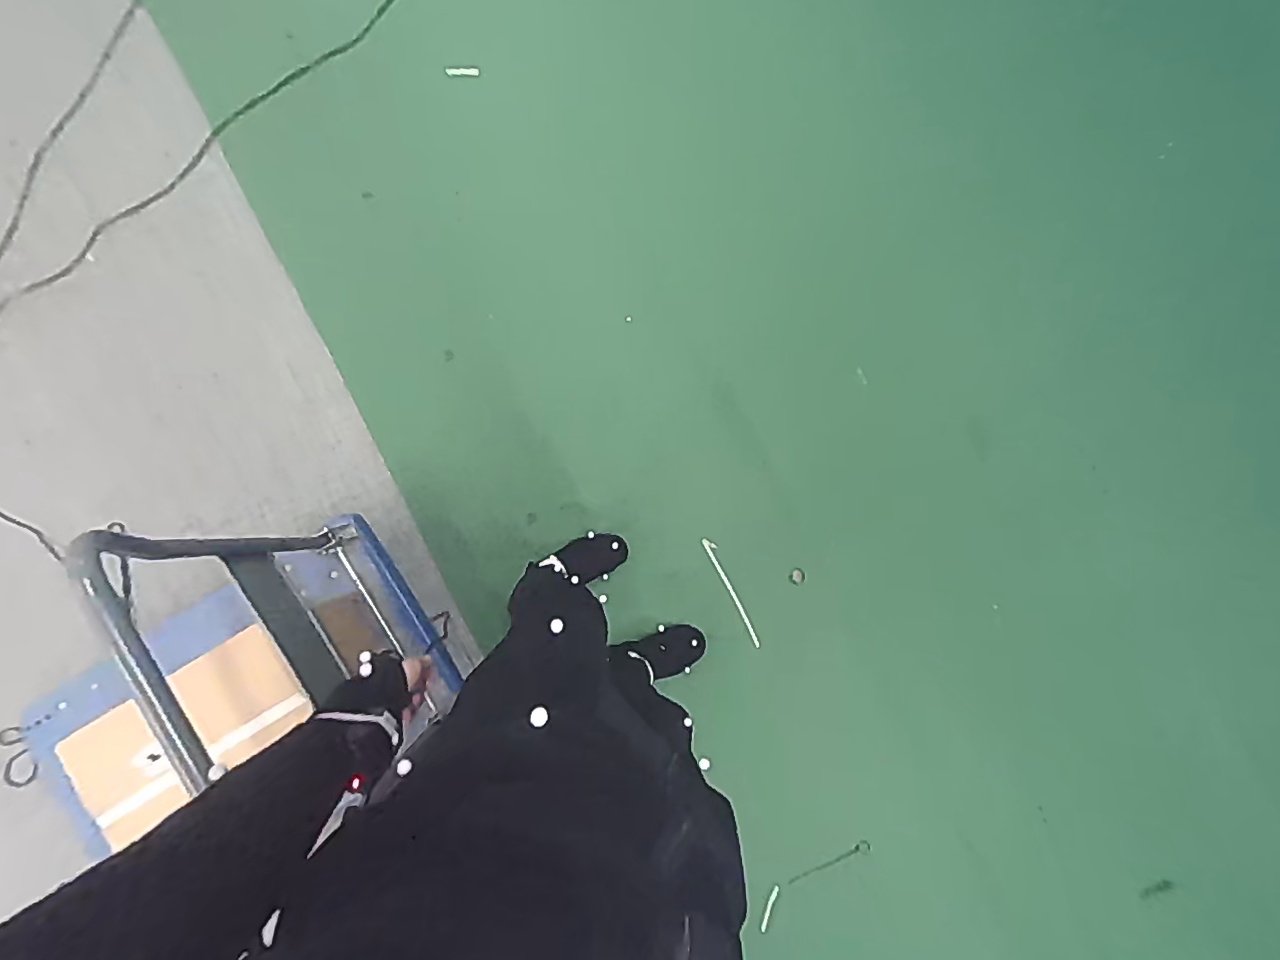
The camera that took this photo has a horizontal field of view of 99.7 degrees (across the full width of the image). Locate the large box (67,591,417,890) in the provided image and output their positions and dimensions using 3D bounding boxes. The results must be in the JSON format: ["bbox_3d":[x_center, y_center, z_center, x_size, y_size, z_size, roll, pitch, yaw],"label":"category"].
[{"bbox_3d":[-0.749,0.478,1.087,0.408,0.320,0.320,-32,88,-2],"label":"large box"}]
